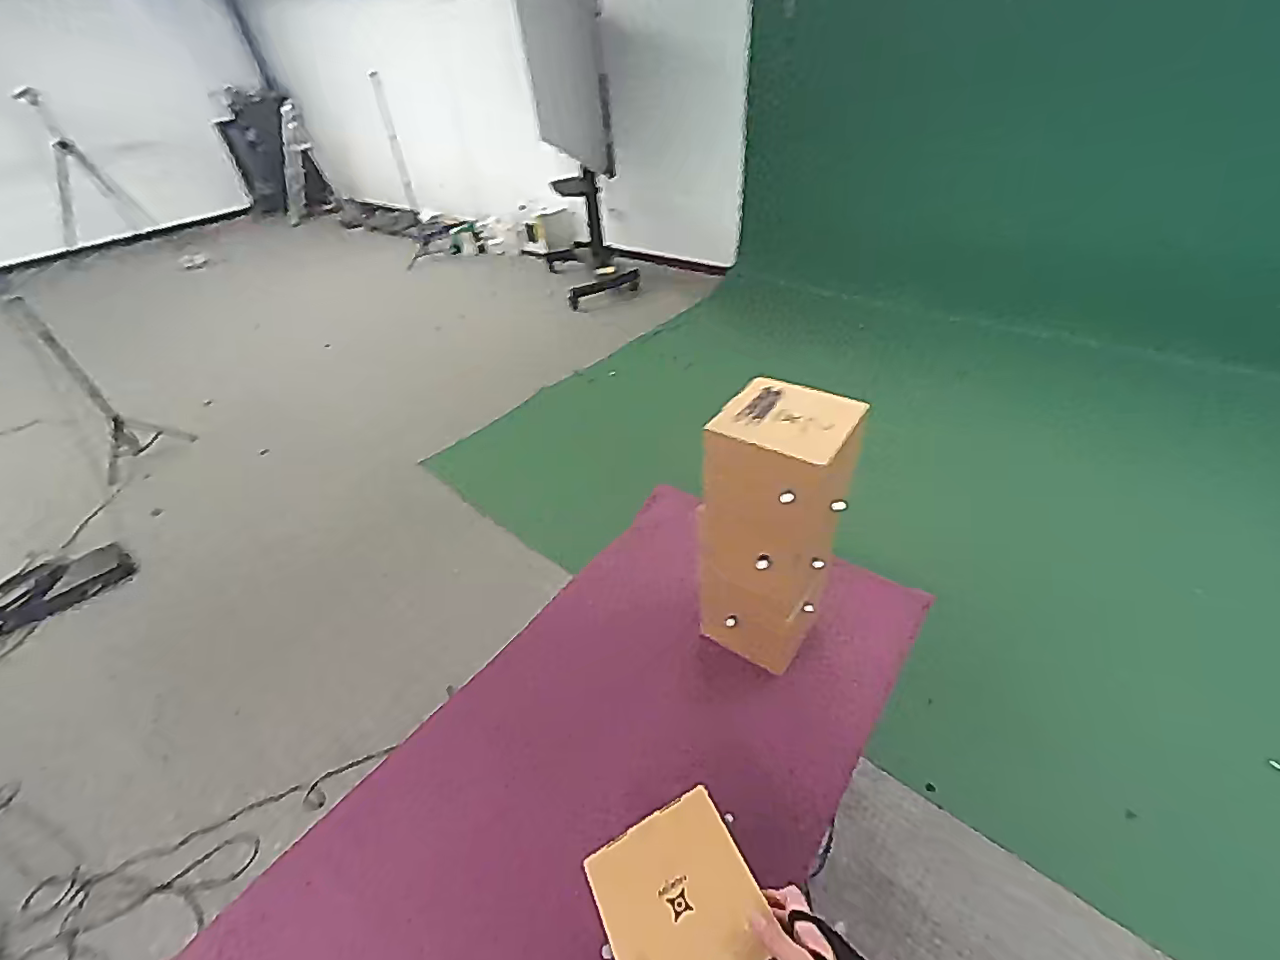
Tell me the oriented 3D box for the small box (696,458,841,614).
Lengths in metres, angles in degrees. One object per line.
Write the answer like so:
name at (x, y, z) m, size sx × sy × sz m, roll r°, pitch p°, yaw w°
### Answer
small box at (0.212, 0.097, 0.912) m, size 0.179 × 0.176 × 0.168 m, roll 24°, pitch 48°, yaw 32°

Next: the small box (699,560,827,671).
small box at (0.228, 0.224, 1.017) m, size 0.179 × 0.176 × 0.168 m, roll 22°, pitch 48°, yaw 31°

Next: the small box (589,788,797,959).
small box at (0.065, 0.508, 0.622) m, size 0.168 × 0.176 × 0.179 m, roll -26°, pitch 37°, yaw -11°
